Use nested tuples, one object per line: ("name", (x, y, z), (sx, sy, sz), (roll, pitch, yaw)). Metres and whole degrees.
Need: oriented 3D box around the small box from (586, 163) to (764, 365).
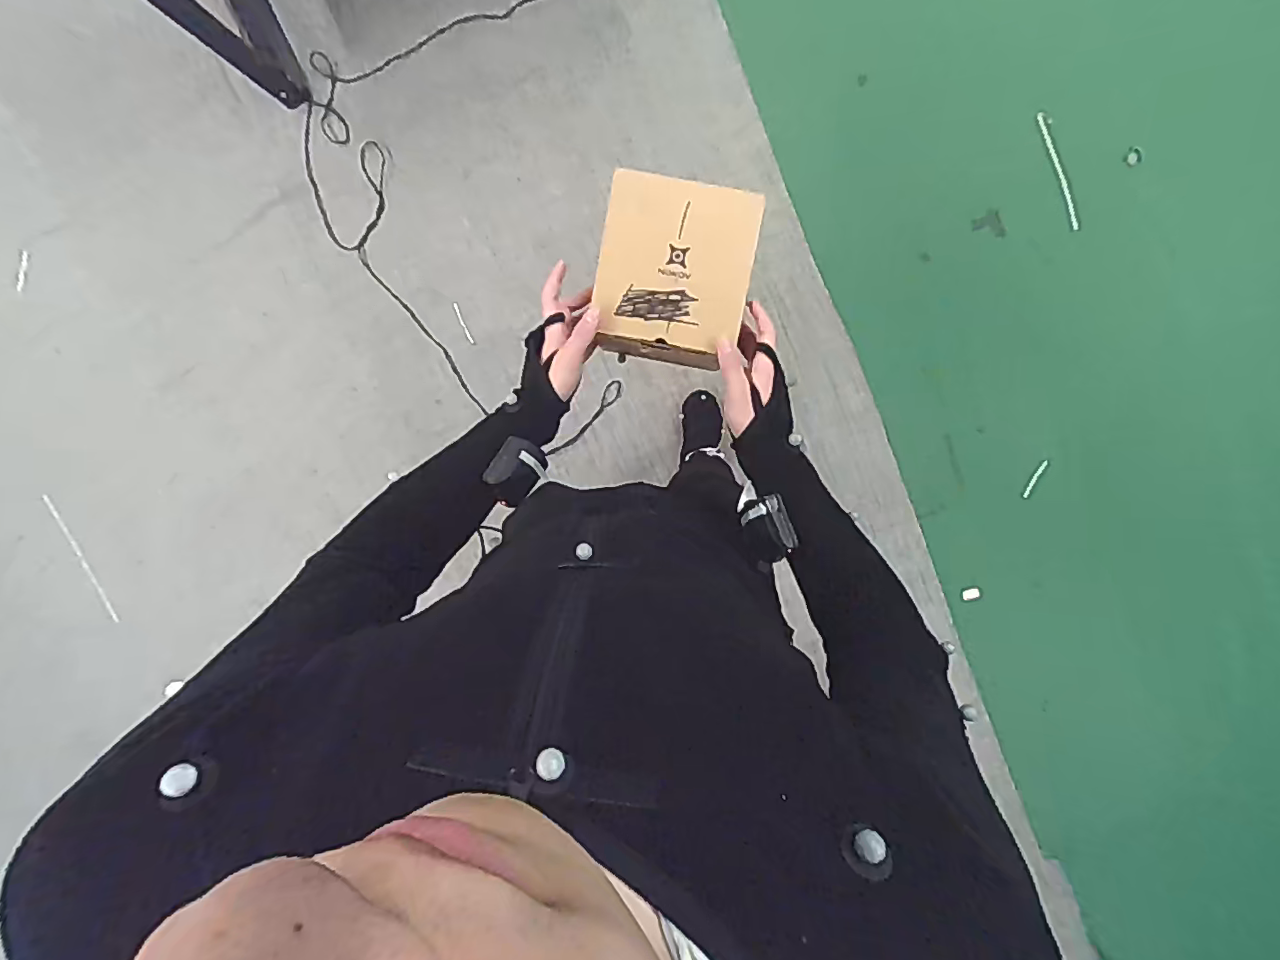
("small box", (0.039, -0.243, 0.655), (0.168, 0.176, 0.179), (10, 97, 0))
